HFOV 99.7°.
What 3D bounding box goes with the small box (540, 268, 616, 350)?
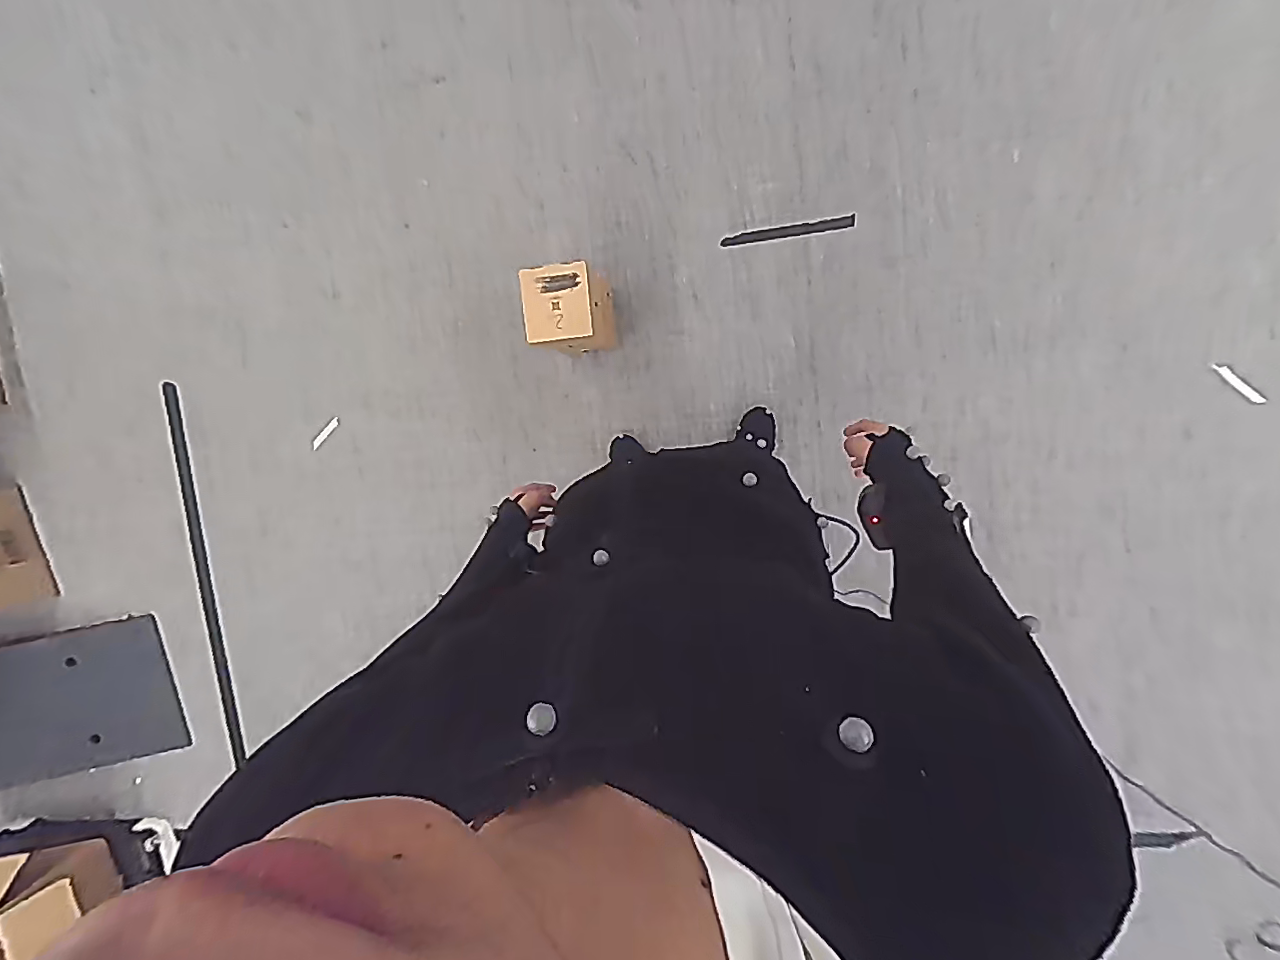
[{"bbox_3d":[-0.167,-0.471,1.510,0.168,0.176,0.179,-7,96,8],"label":"small box"}]
